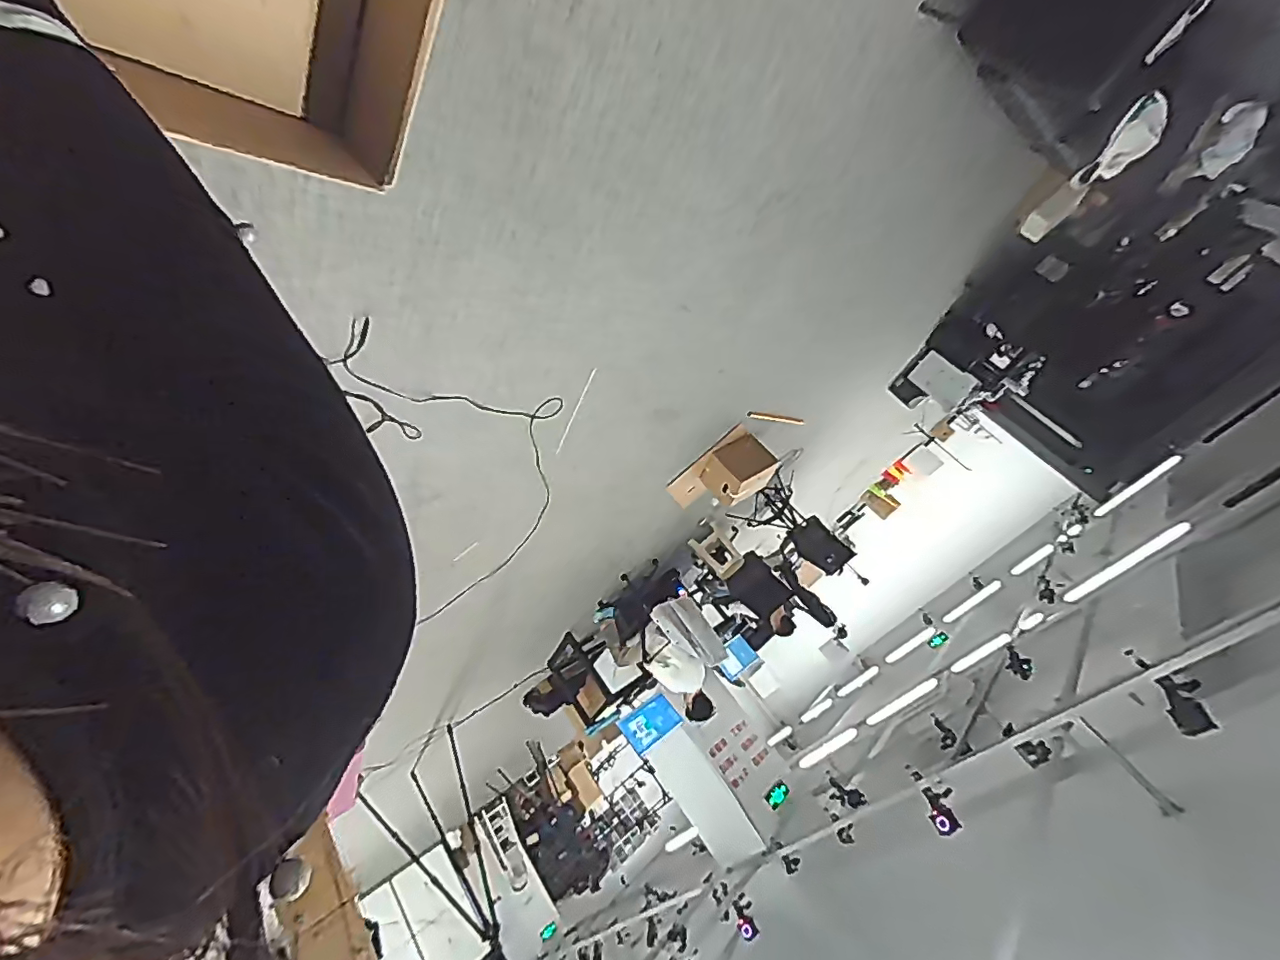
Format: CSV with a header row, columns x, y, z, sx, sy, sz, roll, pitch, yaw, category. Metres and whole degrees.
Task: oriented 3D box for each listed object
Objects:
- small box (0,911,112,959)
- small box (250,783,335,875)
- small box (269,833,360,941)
x,y,z,sx,sy,sz,roll,pitch,yaw,category
-1.356,1.148,1.249,0.168,0.176,0.179,-19,149,-43,small box
-1.009,1.018,1.571,0.168,0.176,0.179,-19,150,-41,small box
-0.908,1.133,1.514,0.179,0.176,0.168,-19,150,-39,small box
